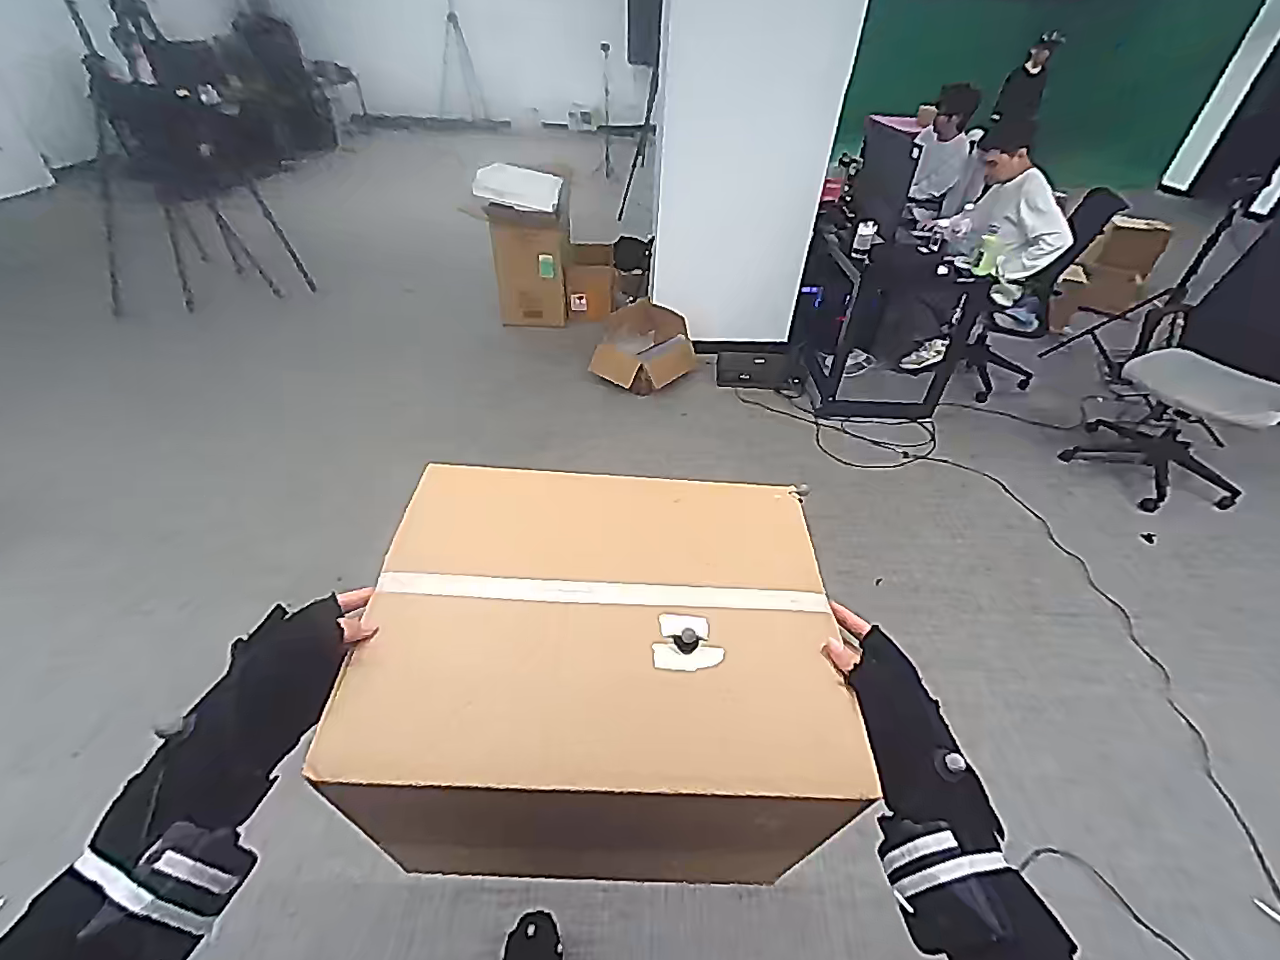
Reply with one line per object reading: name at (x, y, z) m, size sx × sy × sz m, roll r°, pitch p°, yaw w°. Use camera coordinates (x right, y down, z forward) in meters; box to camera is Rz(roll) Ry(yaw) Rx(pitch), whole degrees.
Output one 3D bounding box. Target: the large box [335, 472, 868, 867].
large box at (-0.038, 0.214, 0.604) m, size 0.408 × 0.320 × 0.320 m, roll 4°, pitch 45°, yaw -3°
